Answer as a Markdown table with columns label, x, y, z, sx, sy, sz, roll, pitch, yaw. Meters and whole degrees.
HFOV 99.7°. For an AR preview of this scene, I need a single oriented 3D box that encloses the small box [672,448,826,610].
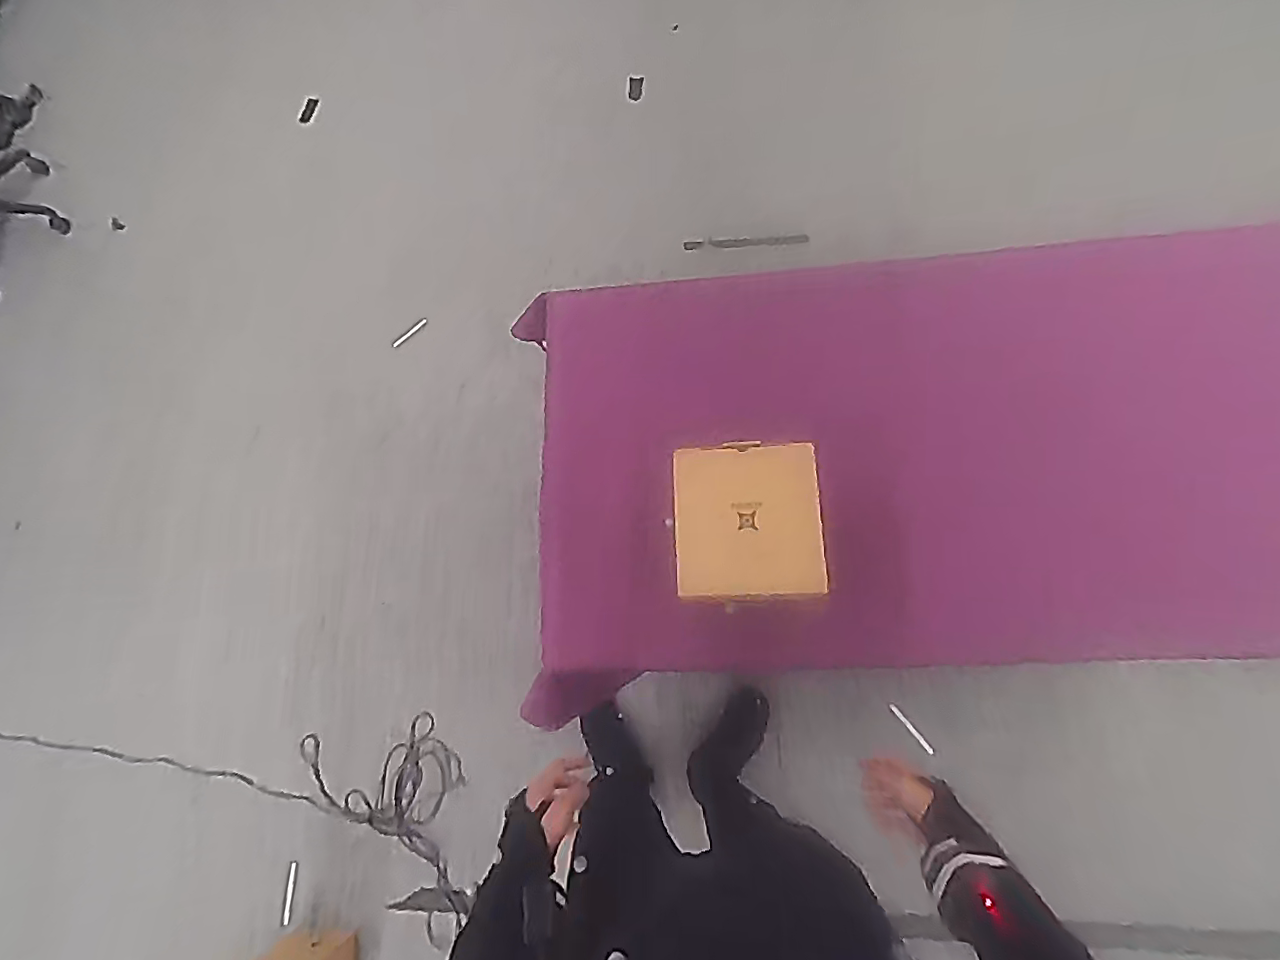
| label | x | y | z | sx | sy | sz | roll | pitch | yaw |
| --- | --- | --- | --- | --- | --- | --- | --- | --- | --- |
| small box | 0.127 | 0.070 | 0.682 | 0.168 | 0.176 | 0.179 | -3 | 75 | 7 |

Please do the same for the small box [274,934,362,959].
| label | x | y | z | sx | sy | sz | roll | pitch | yaw |
| --- | --- | --- | --- | --- | --- | --- | --- | --- | --- |
| small box | -0.777 | 1.211 | 1.260 | 0.168 | 0.176 | 0.179 | -4 | 74 | 7 |
